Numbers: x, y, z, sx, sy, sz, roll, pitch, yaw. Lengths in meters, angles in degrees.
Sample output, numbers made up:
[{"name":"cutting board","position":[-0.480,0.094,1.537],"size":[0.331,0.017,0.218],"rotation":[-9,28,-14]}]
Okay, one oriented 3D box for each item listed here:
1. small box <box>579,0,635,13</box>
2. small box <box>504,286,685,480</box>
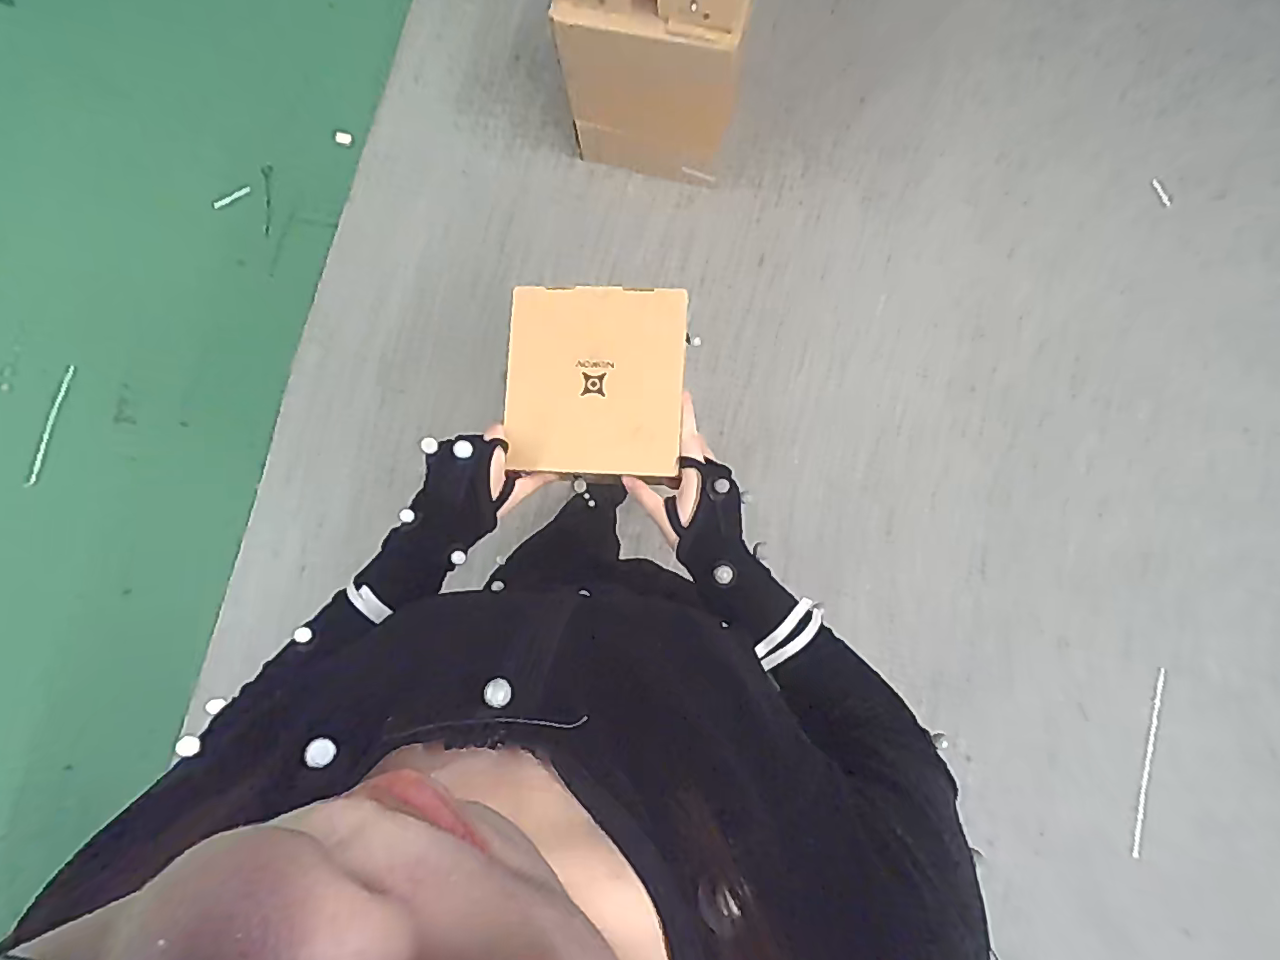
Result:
[{"name":"small box","position":[-0.074,-1.090,1.063],"size":[0.168,0.176,0.179],"rotation":[15,88,2]},{"name":"small box","position":[-0.037,-0.093,0.591],"size":[0.168,0.176,0.179],"rotation":[3,86,5]}]
